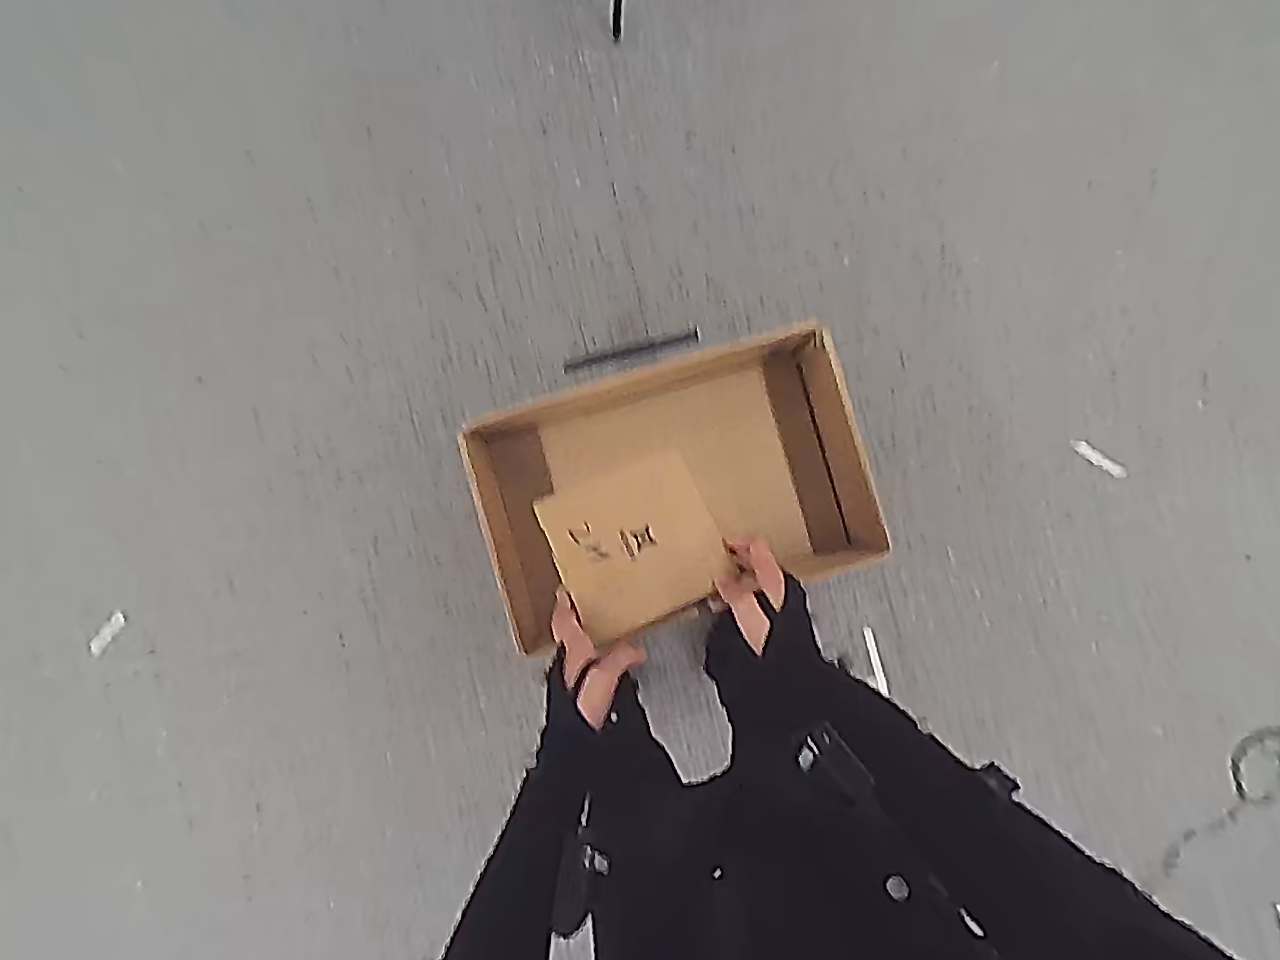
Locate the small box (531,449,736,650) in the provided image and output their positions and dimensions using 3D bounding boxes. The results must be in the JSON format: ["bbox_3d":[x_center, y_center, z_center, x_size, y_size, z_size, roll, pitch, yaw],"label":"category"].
[{"bbox_3d":[-0.012,0.091,0.650,0.179,0.176,0.168,-23,72,-9],"label":"small box"}]
